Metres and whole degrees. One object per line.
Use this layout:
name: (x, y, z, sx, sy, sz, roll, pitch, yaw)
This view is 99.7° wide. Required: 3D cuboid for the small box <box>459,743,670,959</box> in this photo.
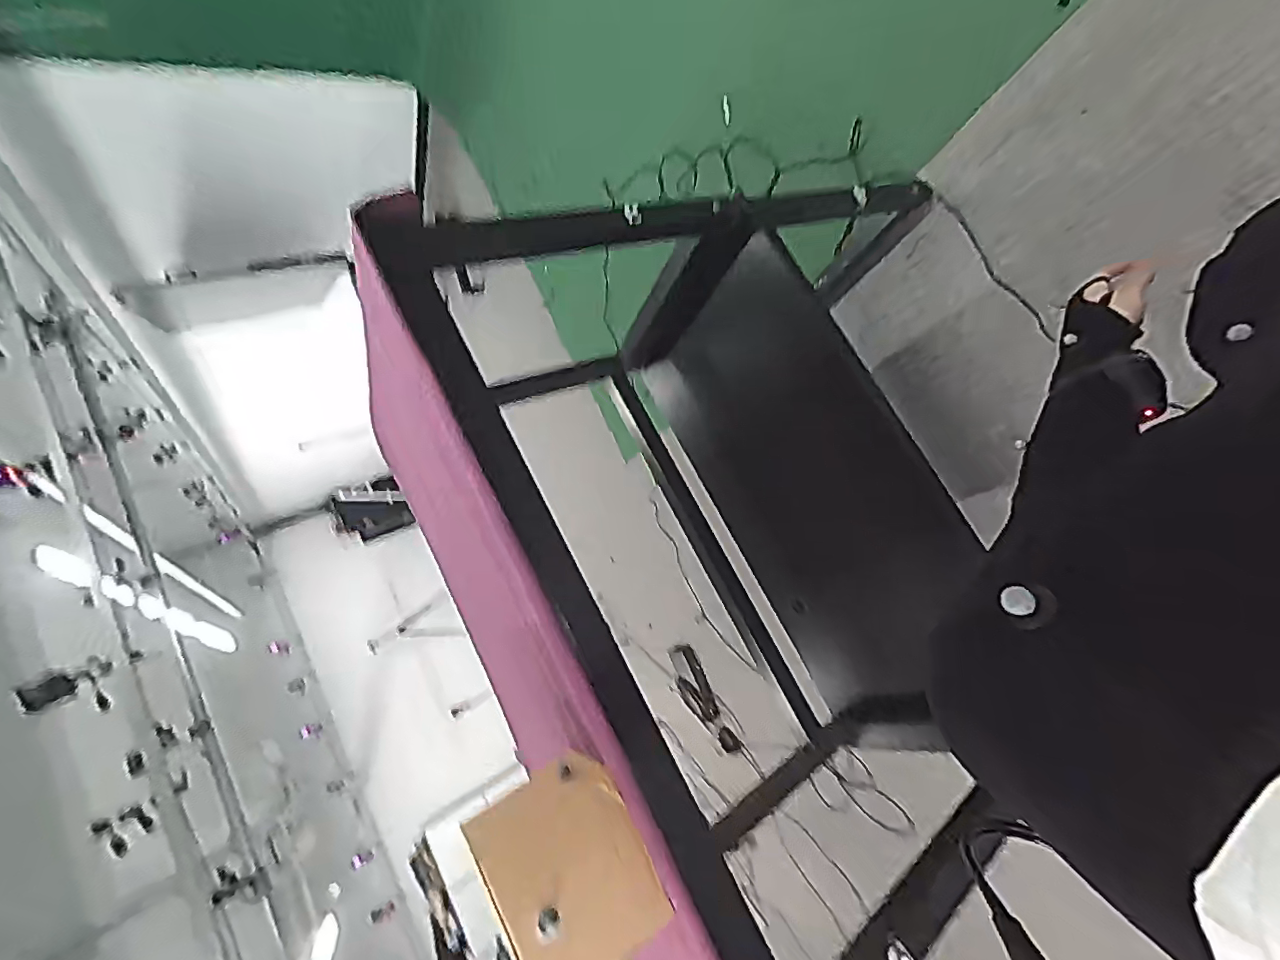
small box: (-0.092, 0.446, 0.638, 0.179, 0.176, 0.168, 64, 150, 8)
